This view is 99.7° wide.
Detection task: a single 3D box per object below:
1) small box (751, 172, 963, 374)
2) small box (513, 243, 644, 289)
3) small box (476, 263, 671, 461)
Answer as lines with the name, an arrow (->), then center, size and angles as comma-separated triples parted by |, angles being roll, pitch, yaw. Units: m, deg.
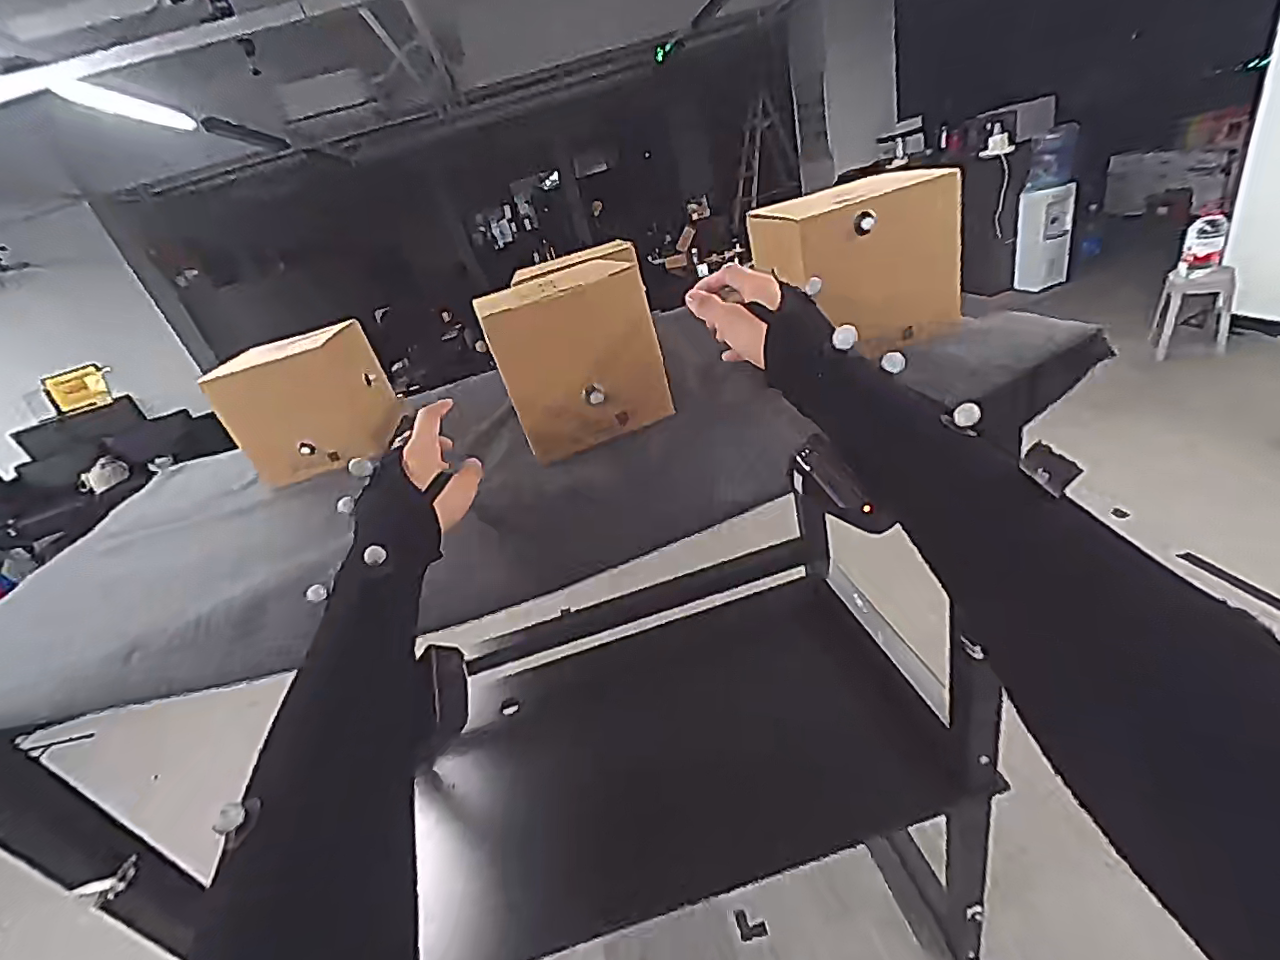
small box -> 0.242, -0.237, 0.629 | 0.168, 0.176, 0.179 | -17, 27, 1
small box -> -0.079, -0.249, 0.828 | 0.179, 0.176, 0.168 | -17, 27, -1
small box -> -0.080, -0.143, 0.636 | 0.168, 0.176, 0.179 | -23, 29, -10
